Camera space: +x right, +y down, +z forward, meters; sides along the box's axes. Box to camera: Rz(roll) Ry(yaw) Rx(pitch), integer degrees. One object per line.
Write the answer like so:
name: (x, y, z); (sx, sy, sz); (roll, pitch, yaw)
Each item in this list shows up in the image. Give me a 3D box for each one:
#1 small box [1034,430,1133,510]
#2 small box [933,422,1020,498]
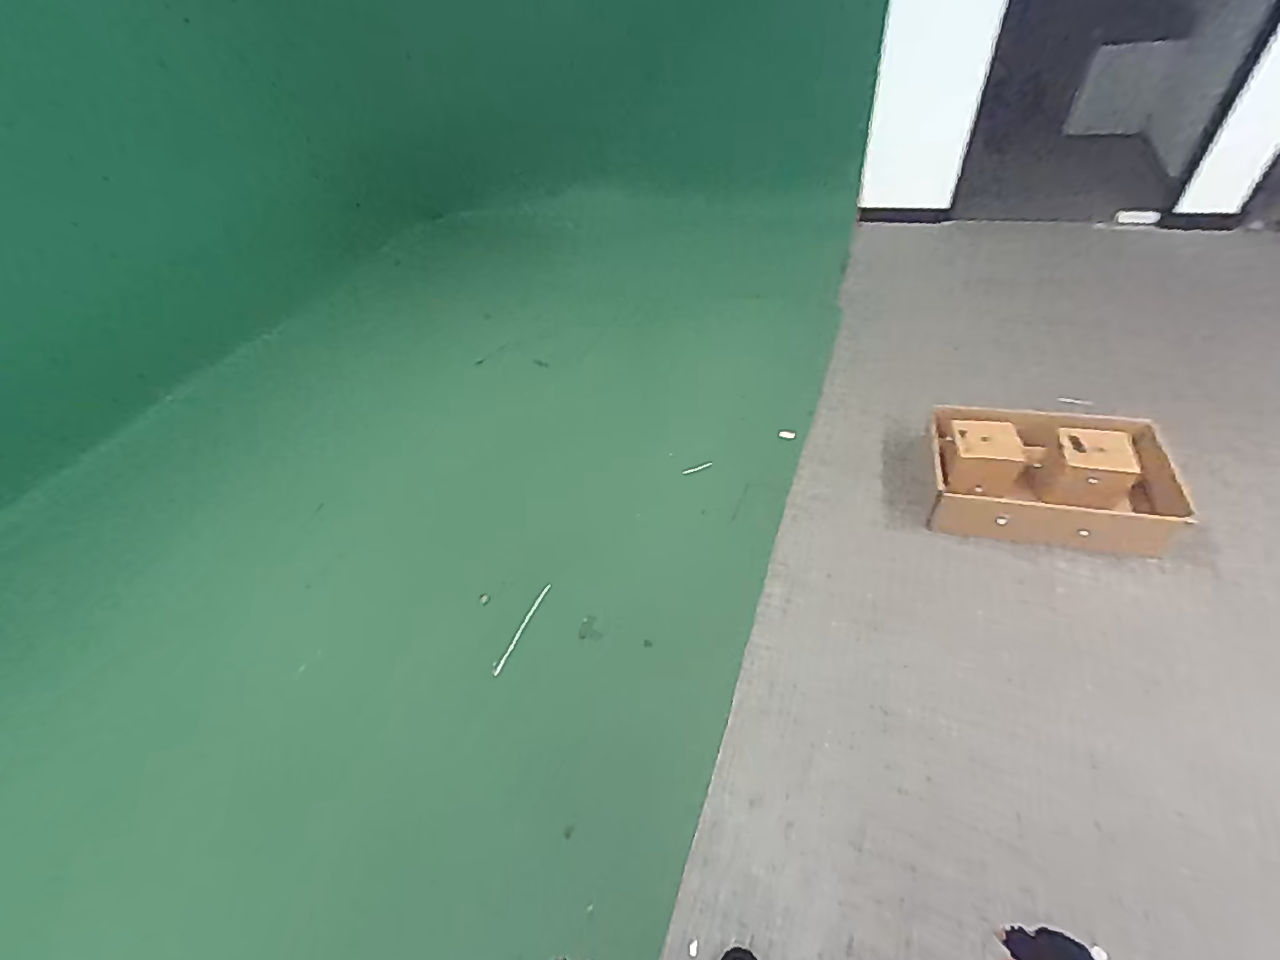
small box: (1.317, -0.028, 1.624); (0.179, 0.176, 0.168); (8, 50, 17)
small box: (1.048, -0.060, 1.699); (0.179, 0.176, 0.168); (6, 49, 13)
